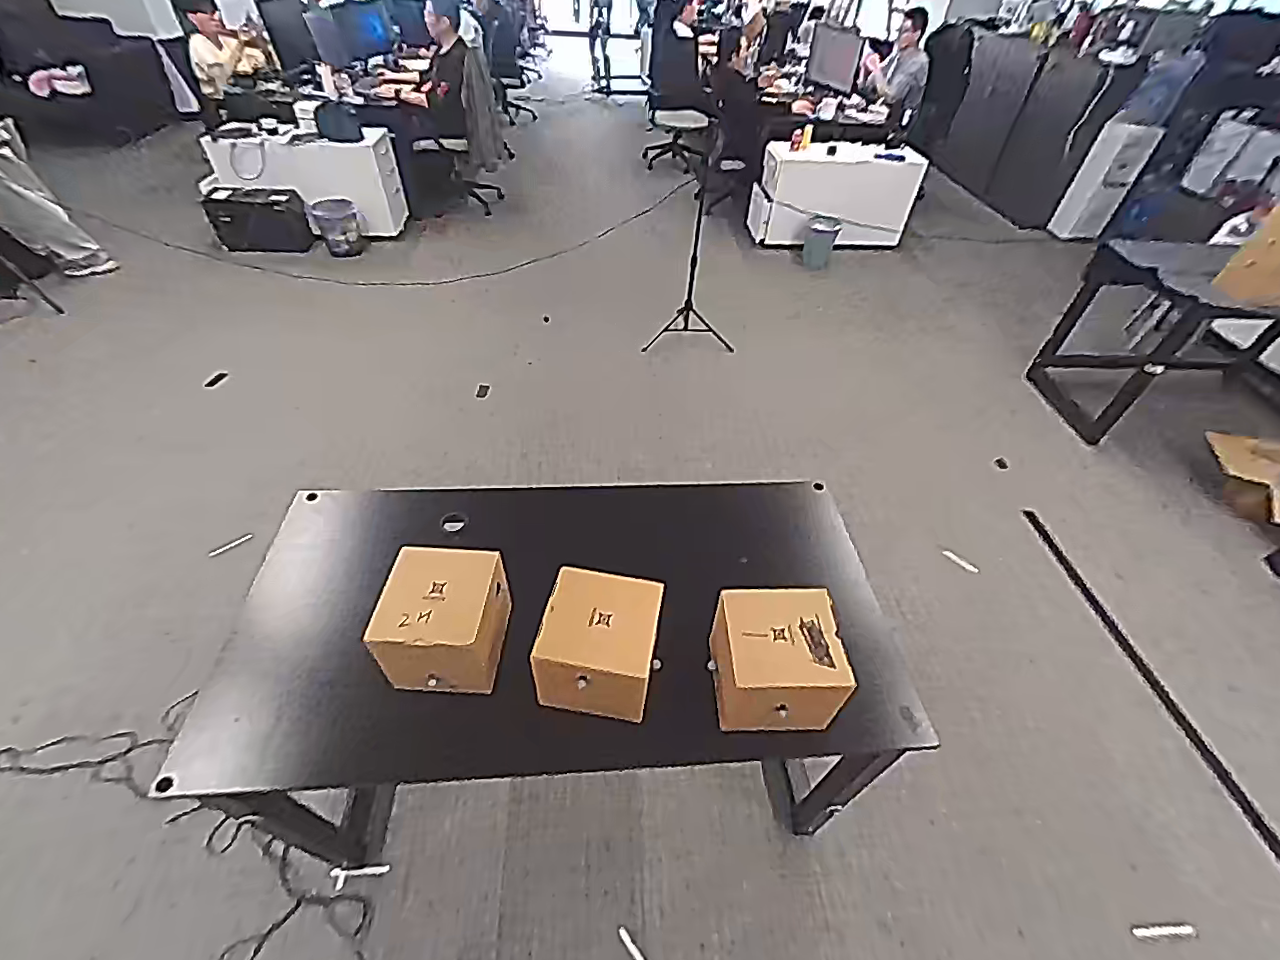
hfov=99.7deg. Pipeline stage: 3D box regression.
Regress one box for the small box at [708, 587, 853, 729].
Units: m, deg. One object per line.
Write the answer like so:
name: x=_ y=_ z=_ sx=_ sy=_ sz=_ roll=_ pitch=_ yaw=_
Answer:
small box: x=0.214 y=0.290 z=0.878 sx=0.179 sy=0.176 sz=0.168 roll=-1 pitch=45 yaw=-2

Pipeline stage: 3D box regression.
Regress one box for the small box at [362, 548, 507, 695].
small box: x=-0.326 y=0.236 z=0.902 sx=0.168 sy=0.176 sz=0.179 roll=3 pitch=46 yaw=0
